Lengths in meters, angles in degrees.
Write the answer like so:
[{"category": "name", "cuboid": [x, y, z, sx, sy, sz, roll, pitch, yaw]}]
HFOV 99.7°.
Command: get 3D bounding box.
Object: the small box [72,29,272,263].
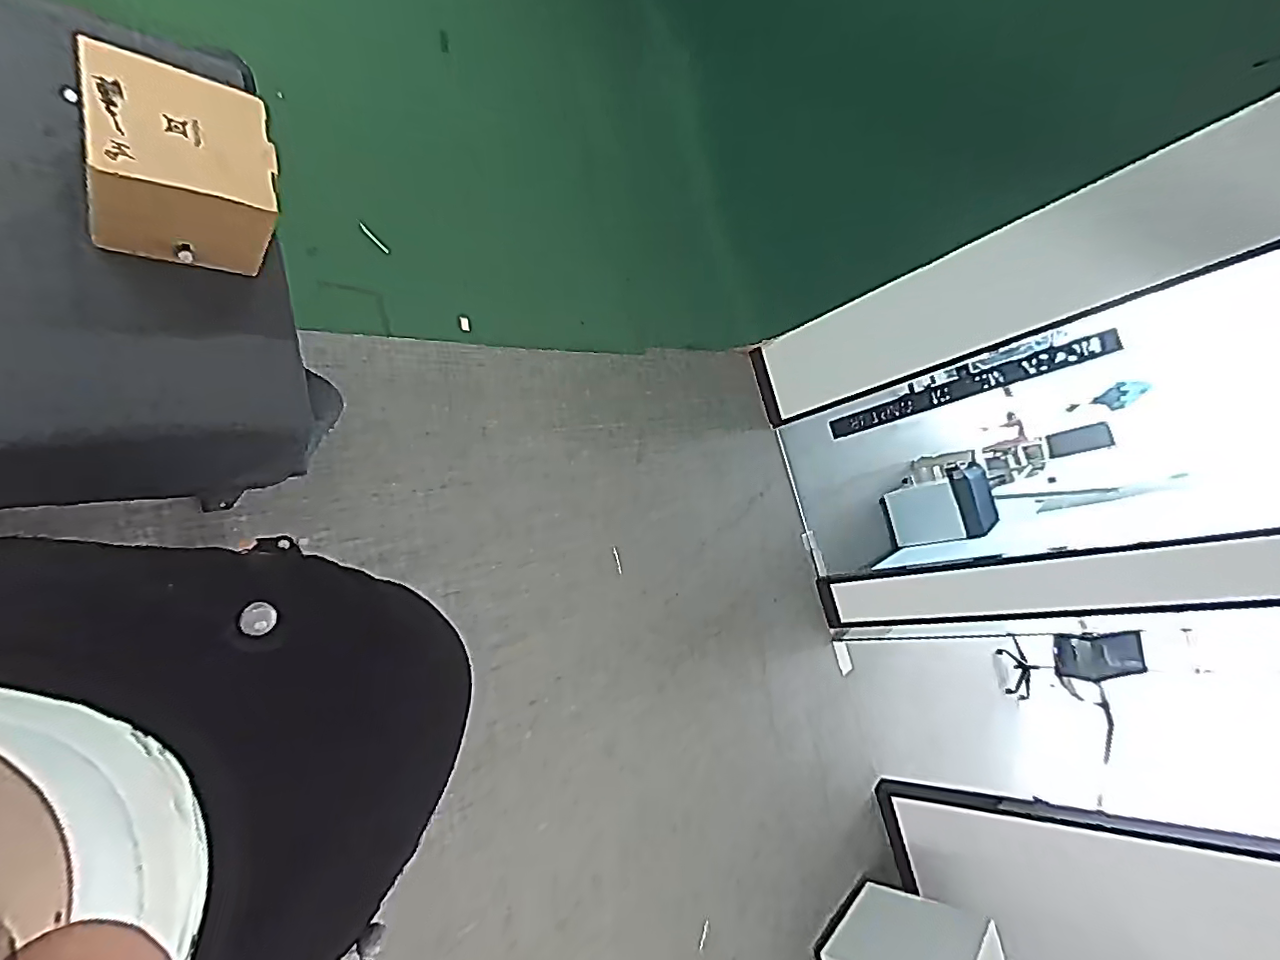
[{"category": "small box", "cuboid": [-0.608, -0.408, 0.703, 0.179, 0.176, 0.168, -4, 81, -46]}]
